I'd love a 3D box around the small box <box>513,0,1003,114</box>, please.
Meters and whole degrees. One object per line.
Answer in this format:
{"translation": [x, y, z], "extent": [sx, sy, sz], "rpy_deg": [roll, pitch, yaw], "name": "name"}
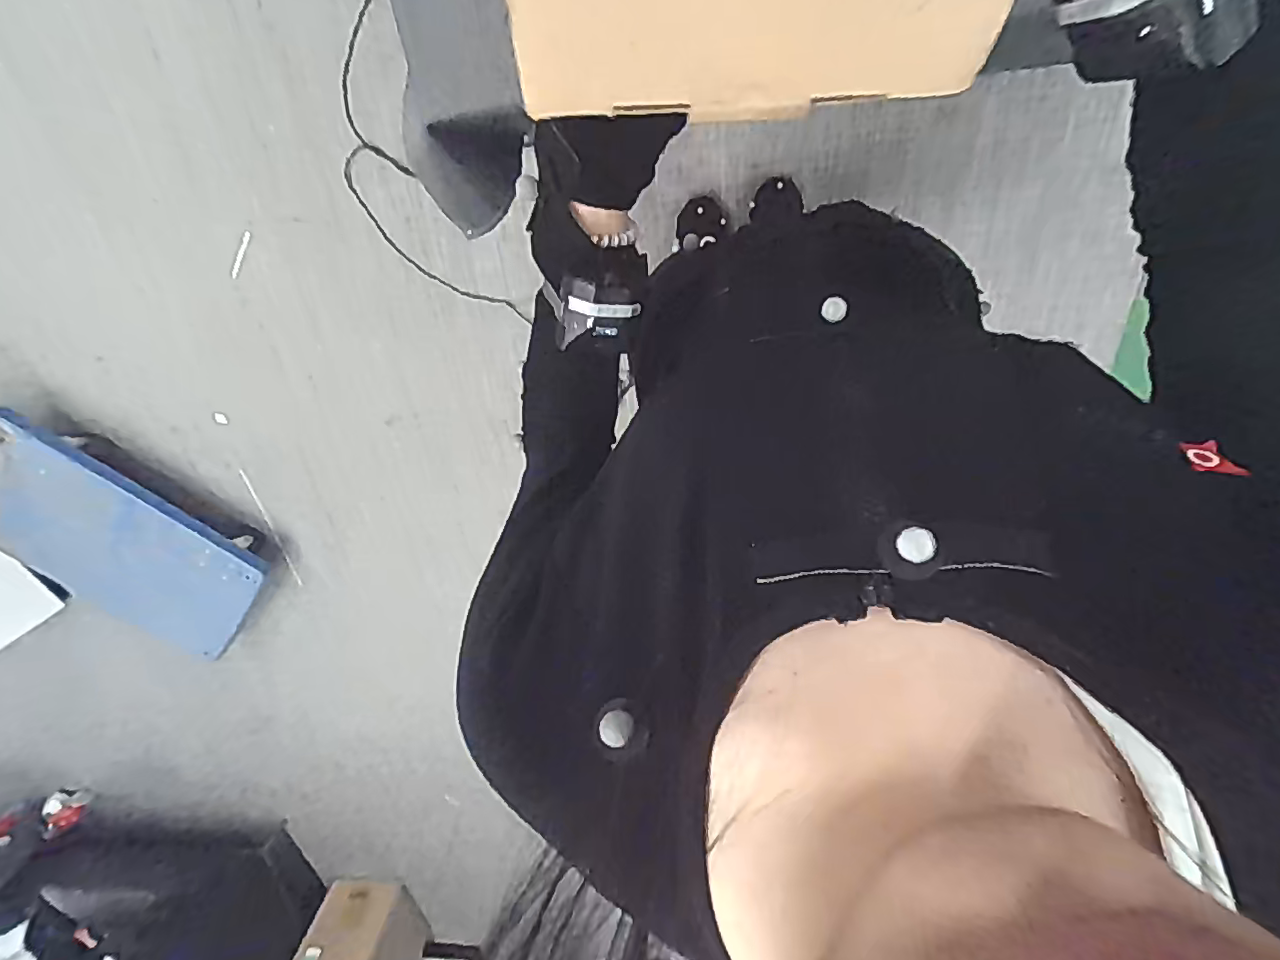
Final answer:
{"translation": [0.033, -0.254, 0.168], "extent": [0.168, 0.176, 0.179], "rpy_deg": [-6, 150, -2], "name": "small box"}
